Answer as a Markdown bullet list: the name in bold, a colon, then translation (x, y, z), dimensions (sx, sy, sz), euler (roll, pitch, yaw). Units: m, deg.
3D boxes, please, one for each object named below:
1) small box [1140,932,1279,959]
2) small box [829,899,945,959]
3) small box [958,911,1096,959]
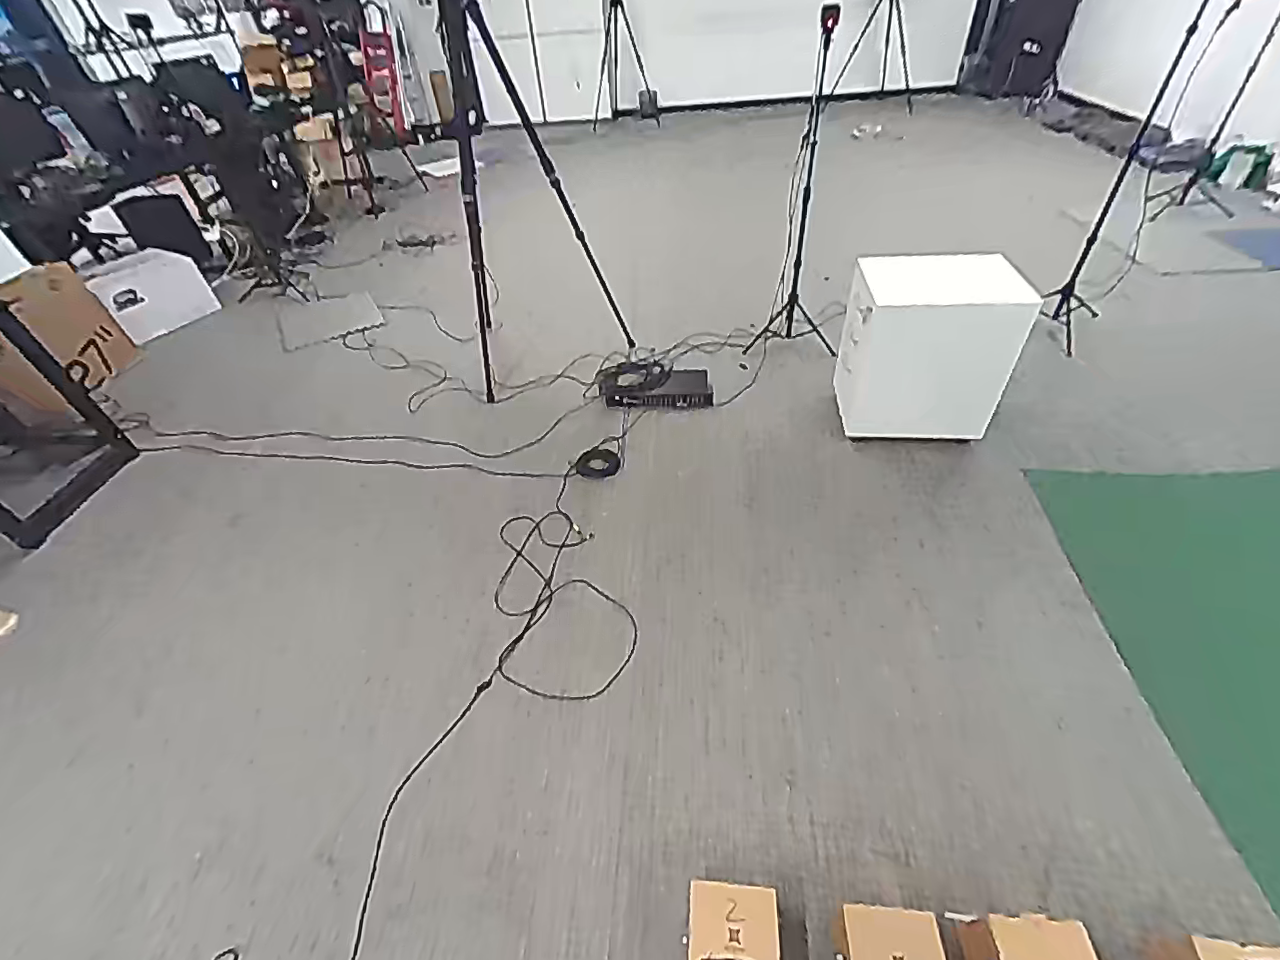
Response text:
- **small box**: translation (1.034, 0.918, 0.934), dimensions (0.168, 0.176, 0.179), euler (3, 45, 9)
- **small box**: translation (0.456, 0.907, 0.998), dimensions (0.168, 0.176, 0.179), euler (0, 44, 7)
- **small box**: translation (0.710, 0.909, 0.976), dimensions (0.168, 0.176, 0.179), euler (0, 43, 6)
